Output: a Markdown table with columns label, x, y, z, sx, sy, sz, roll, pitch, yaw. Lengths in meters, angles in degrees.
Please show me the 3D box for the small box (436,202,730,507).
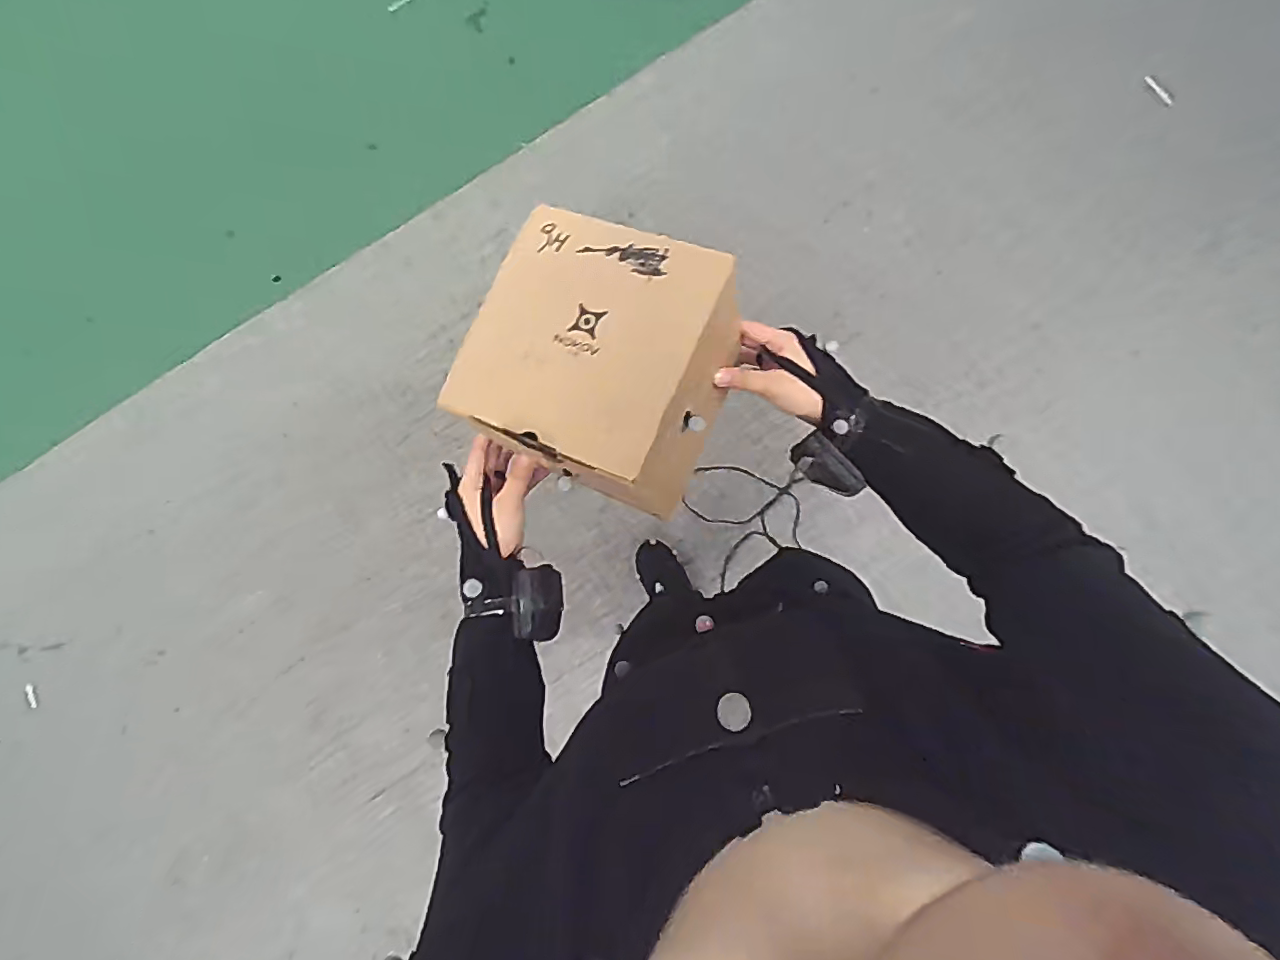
| label | x | y | z | sx | sy | sz | roll | pitch | yaw |
| --- | --- | --- | --- | --- | --- | --- | --- | --- | --- |
| small box | -0.029 | -0.091 | 0.462 | 0.168 | 0.176 | 0.179 | 23 | 84 | 15 |
